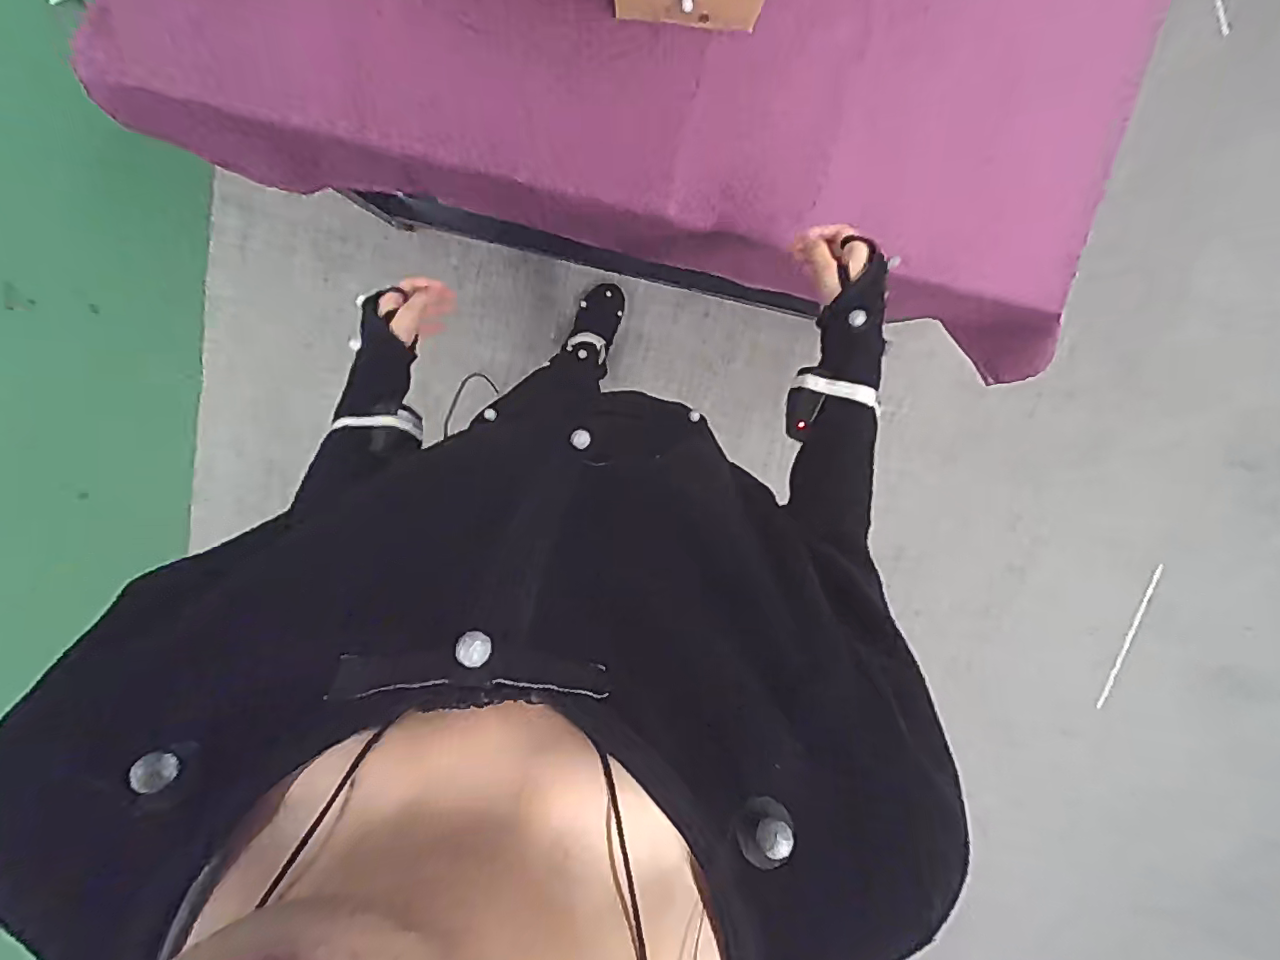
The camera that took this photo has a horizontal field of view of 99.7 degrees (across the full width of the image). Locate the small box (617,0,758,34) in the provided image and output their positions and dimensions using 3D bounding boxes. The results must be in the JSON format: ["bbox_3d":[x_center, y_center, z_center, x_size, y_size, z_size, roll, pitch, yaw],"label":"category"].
[{"bbox_3d":[0.059,-0.610,0.550,0.168,0.176,0.179,5,103,-2],"label":"small box"}]
